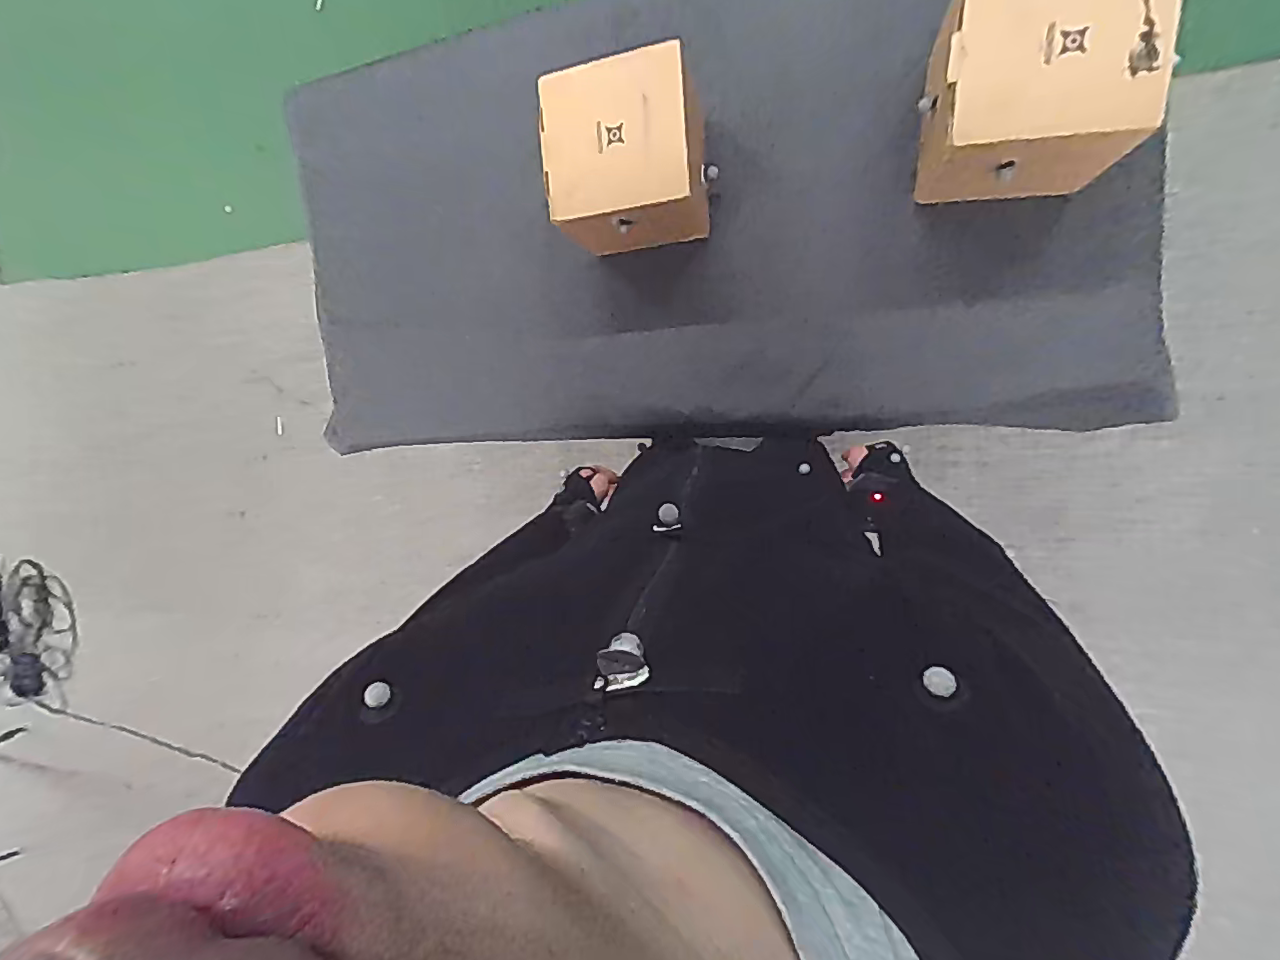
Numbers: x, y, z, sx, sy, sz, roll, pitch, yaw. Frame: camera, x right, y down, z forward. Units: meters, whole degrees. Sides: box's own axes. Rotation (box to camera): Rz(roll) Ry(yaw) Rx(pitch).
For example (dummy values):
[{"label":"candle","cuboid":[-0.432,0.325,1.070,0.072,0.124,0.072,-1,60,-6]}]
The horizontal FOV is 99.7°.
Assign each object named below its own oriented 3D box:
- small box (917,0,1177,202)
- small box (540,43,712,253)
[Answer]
[{"label":"small box","cuboid":[0.408,-0.411,0.575,0.179,0.176,0.168,4,100,16]},{"label":"small box","cuboid":[-0.009,-0.408,0.703,0.179,0.176,0.168,-3,98,16]}]
